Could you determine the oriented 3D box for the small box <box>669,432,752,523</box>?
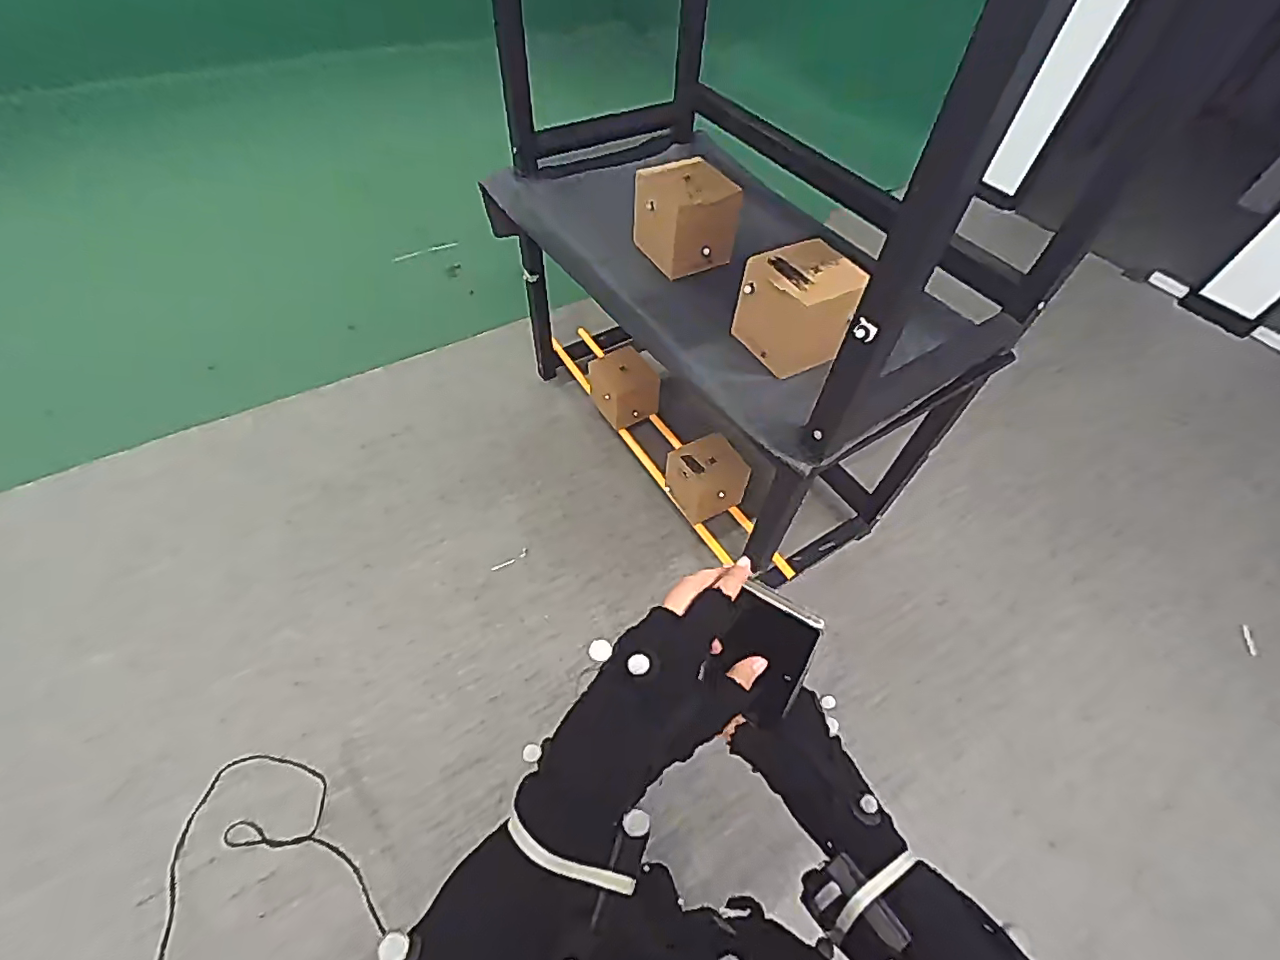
[{"bbox_3d":[0.195,-0.002,1.561,0.179,0.176,0.168,-23,59,-18],"label":"small box"}]

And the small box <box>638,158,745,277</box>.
[{"bbox_3d":[0.105,-0.588,1.212,0.168,0.176,0.179,-23,59,-18],"label":"small box"}]
